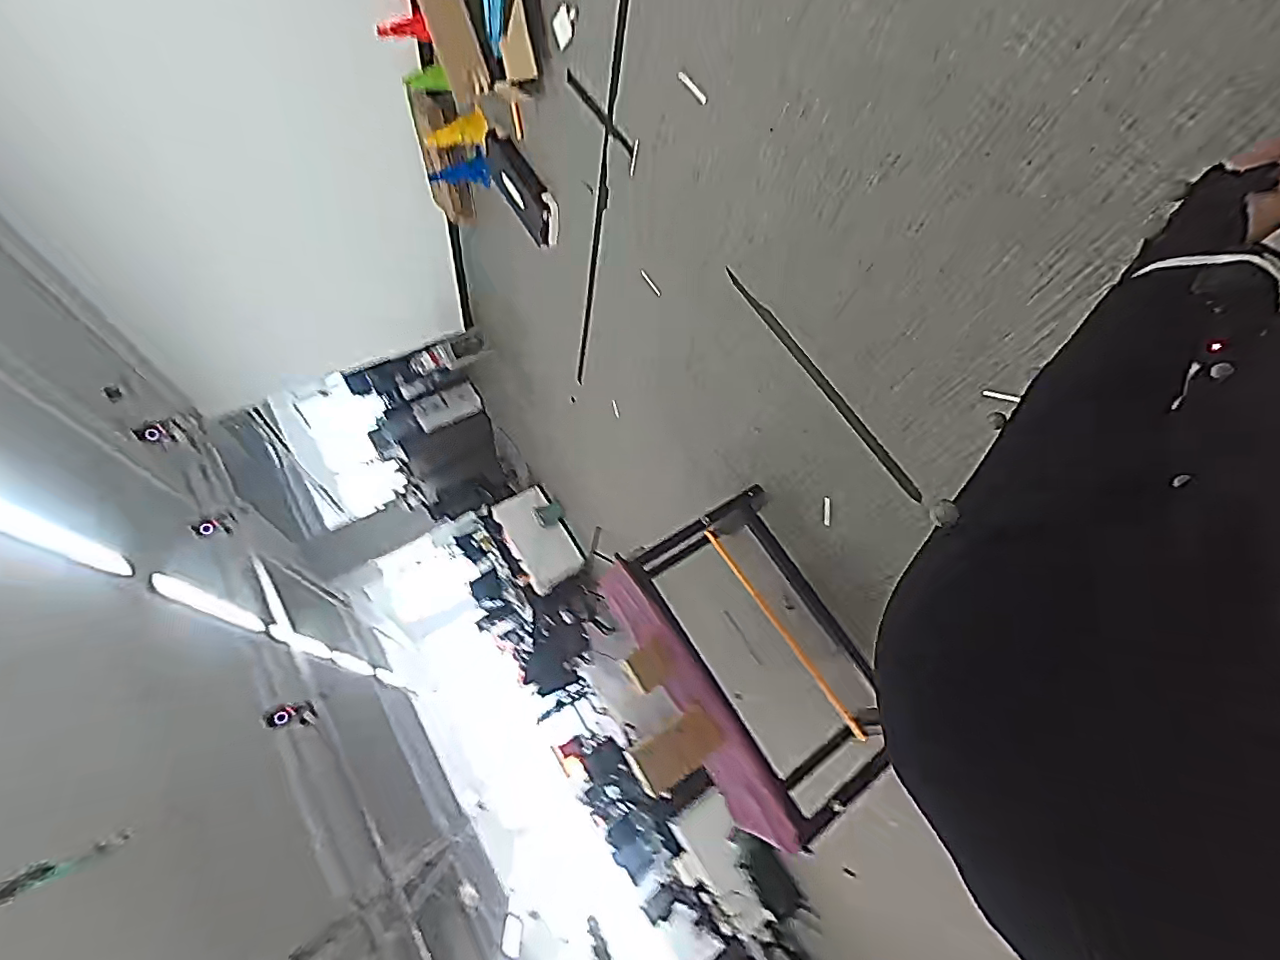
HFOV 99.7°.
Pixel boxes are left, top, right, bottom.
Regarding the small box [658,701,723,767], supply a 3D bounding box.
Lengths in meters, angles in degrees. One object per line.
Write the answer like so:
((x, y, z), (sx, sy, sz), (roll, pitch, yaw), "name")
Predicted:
((0.200, 1.004, 2.145), (0.179, 0.176, 0.168), (56, 158, 15), "small box")

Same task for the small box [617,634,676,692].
((0.028, 0.755, 2.229), (0.168, 0.176, 0.179), (56, 157, 13), "small box")
